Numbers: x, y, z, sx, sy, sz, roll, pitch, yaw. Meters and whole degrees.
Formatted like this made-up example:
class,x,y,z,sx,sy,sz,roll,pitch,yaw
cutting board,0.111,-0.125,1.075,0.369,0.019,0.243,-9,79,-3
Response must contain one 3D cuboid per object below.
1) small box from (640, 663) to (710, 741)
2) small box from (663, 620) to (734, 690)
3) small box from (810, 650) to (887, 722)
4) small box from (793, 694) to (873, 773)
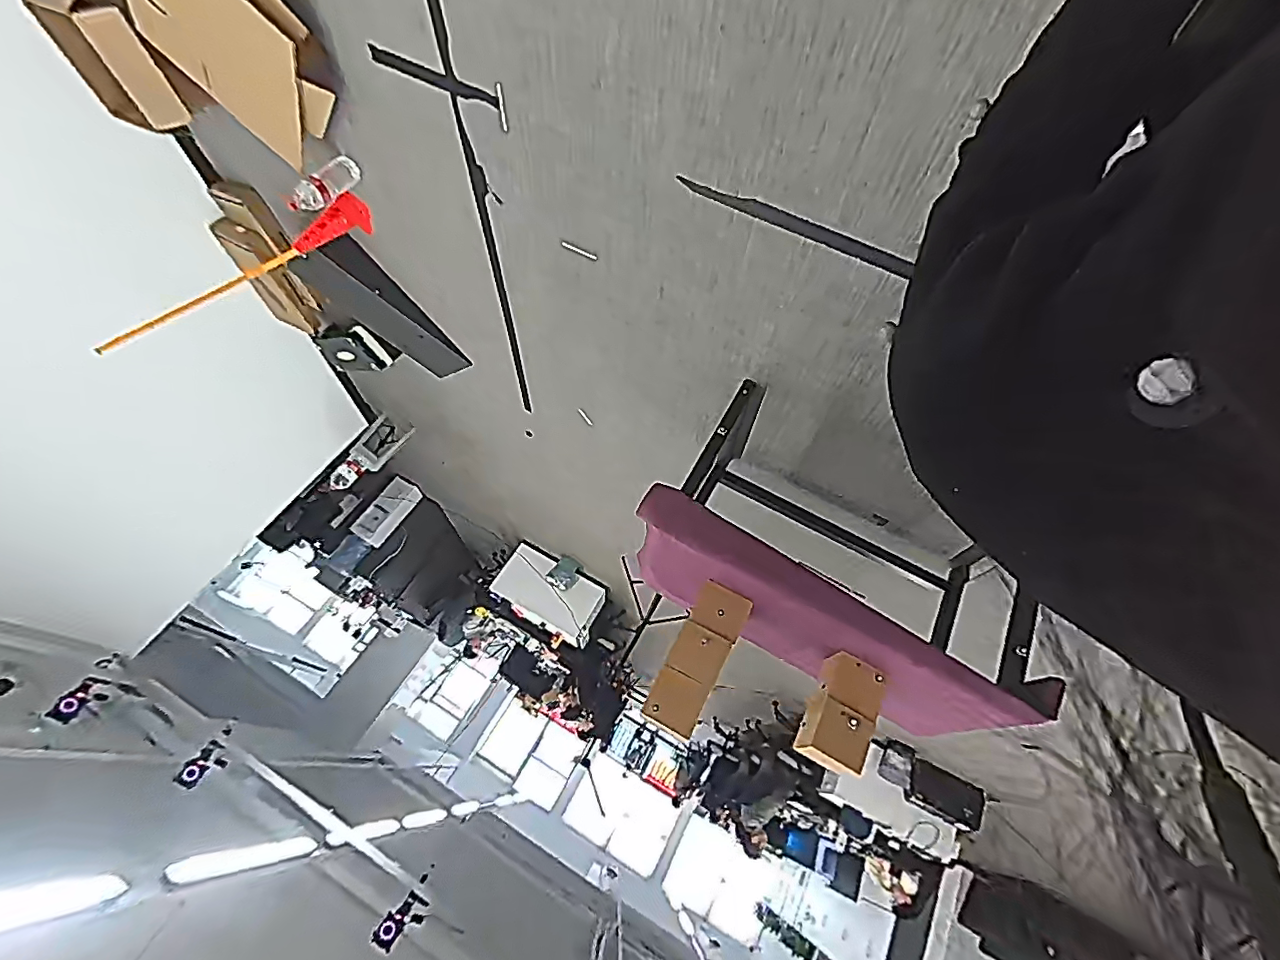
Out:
class,x,y,z,sx,sy,sz,roll,pitch,yaw
small box,0.115,0.719,1.753,0.179,0.176,0.168,25,153,15
small box,0.193,0.590,1.817,0.179,0.176,0.168,25,154,15
small box,0.696,0.688,1.799,0.168,0.176,0.179,28,154,11
small box,0.616,0.804,1.718,0.168,0.176,0.179,26,152,11
